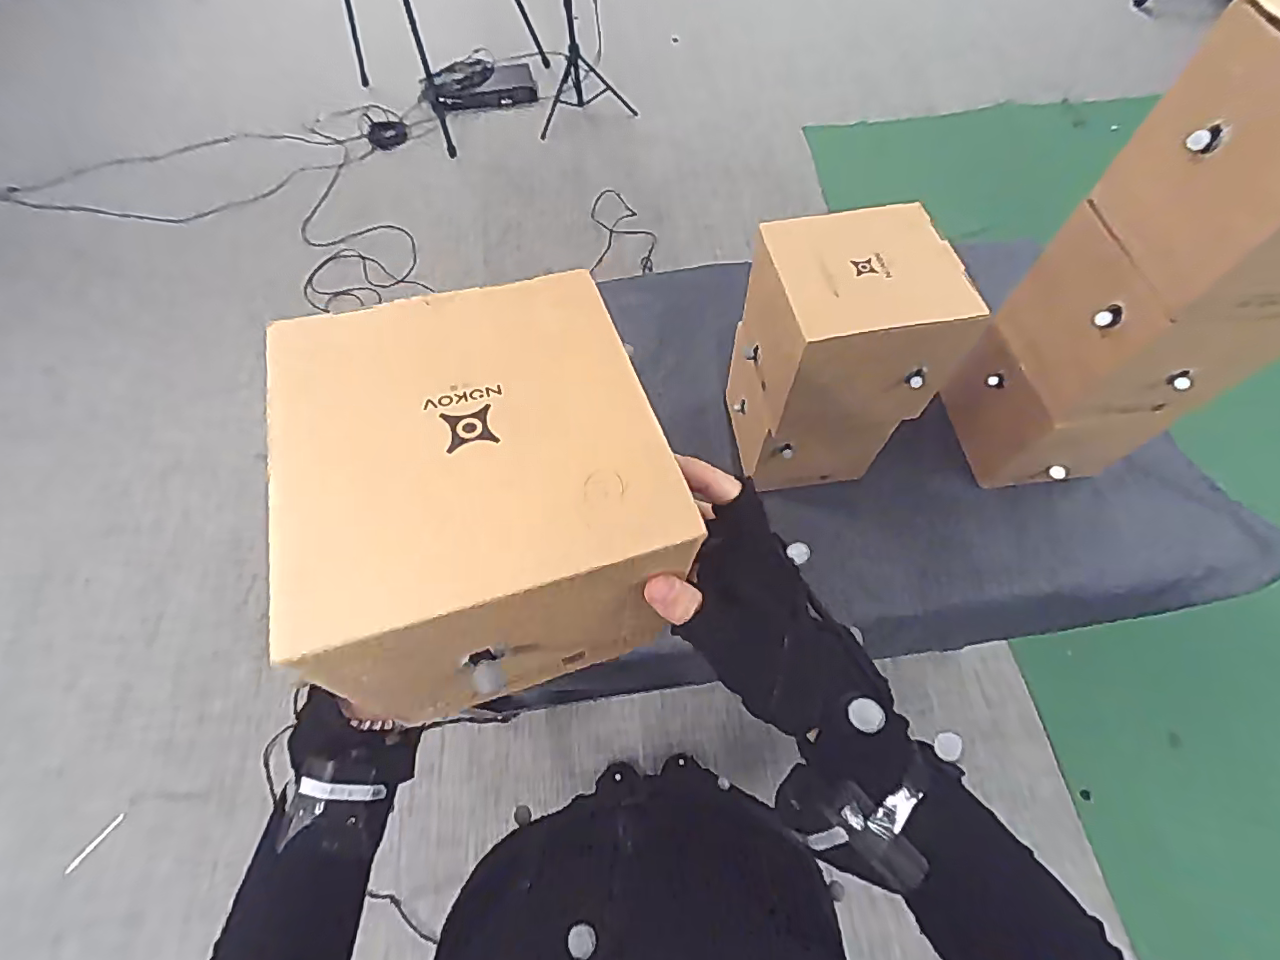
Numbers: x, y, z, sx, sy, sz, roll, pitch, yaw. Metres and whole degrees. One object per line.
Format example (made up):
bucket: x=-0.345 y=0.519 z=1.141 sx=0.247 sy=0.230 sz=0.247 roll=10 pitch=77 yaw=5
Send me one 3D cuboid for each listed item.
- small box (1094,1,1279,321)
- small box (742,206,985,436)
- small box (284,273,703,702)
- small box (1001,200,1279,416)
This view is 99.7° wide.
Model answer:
small box: x=0.537 y=-0.257 z=0.446 sx=0.168 sy=0.176 sz=0.179 roll=-4 pitch=62 yaw=2
small box: x=0.225 y=-0.168 z=0.600 sx=0.179 sy=0.176 sz=0.168 roll=-9 pitch=62 yaw=-2
small box: x=-0.079 y=0.014 z=0.317 sx=0.168 sy=0.176 sz=0.179 roll=-15 pitch=59 yaw=-14
small box: x=0.546 y=-0.182 z=0.592 sx=0.168 sy=0.176 sz=0.179 roll=-5 pitch=62 yaw=0
